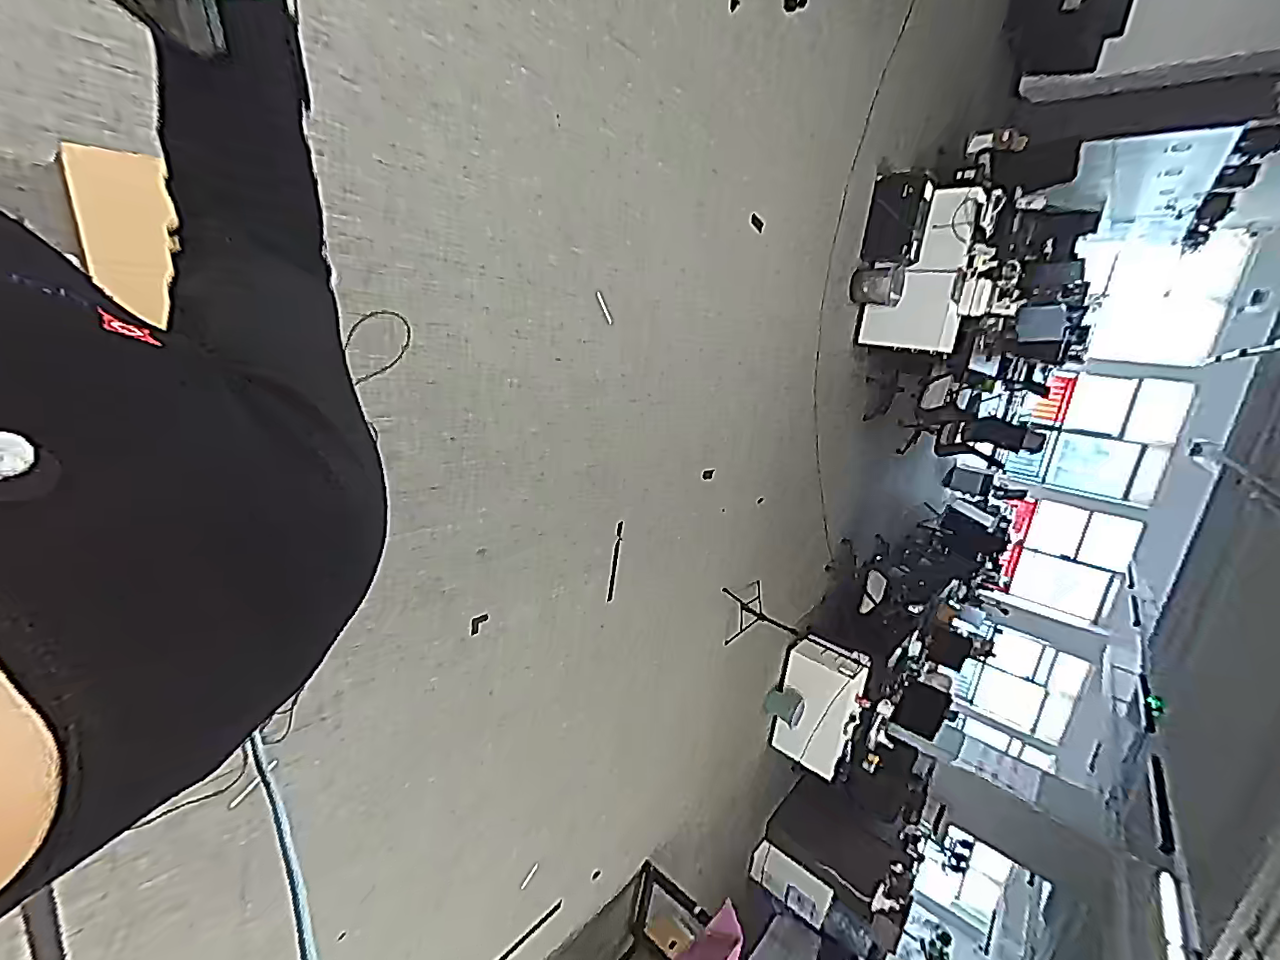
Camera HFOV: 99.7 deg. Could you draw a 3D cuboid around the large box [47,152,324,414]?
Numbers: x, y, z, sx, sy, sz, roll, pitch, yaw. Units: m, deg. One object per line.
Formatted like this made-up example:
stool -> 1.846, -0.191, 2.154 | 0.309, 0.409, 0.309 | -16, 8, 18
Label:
large box -> -0.865, -0.371, 1.051 | 0.320, 0.320, 0.408 | -16, 119, -45
